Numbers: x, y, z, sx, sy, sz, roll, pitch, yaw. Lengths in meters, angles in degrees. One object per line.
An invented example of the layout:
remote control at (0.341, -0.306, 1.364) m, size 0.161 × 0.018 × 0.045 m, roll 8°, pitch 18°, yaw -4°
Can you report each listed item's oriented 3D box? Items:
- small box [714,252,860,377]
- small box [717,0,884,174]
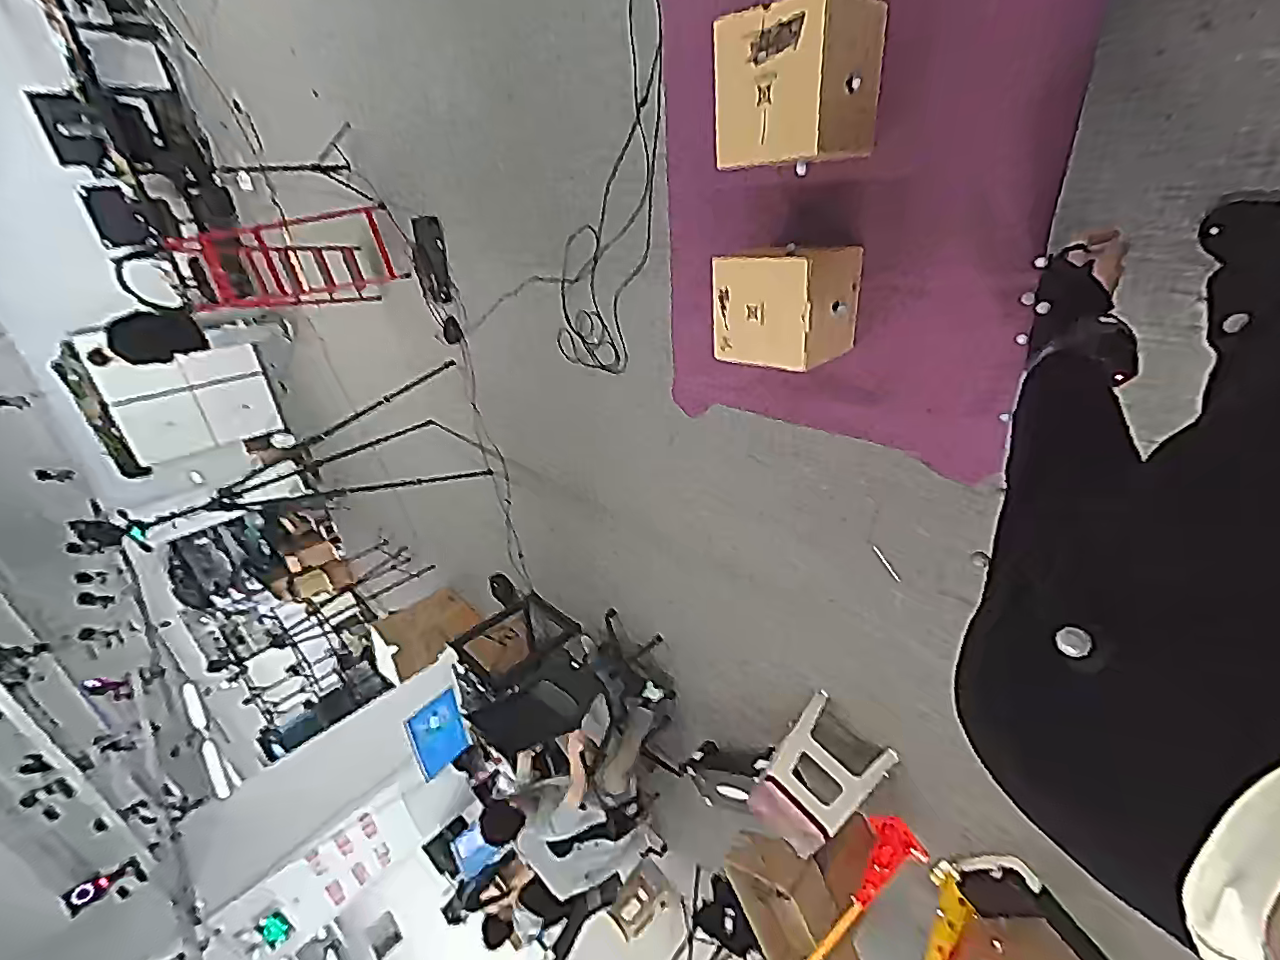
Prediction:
small box at (0.244, -0.283, 0.899) m, size 0.179 × 0.176 × 0.168 m, roll 20°, pitch 126°, yaw 40°
small box at (0.226, -0.541, 0.765) m, size 0.168 × 0.176 × 0.179 m, roll 21°, pitch 127°, yaw 41°
